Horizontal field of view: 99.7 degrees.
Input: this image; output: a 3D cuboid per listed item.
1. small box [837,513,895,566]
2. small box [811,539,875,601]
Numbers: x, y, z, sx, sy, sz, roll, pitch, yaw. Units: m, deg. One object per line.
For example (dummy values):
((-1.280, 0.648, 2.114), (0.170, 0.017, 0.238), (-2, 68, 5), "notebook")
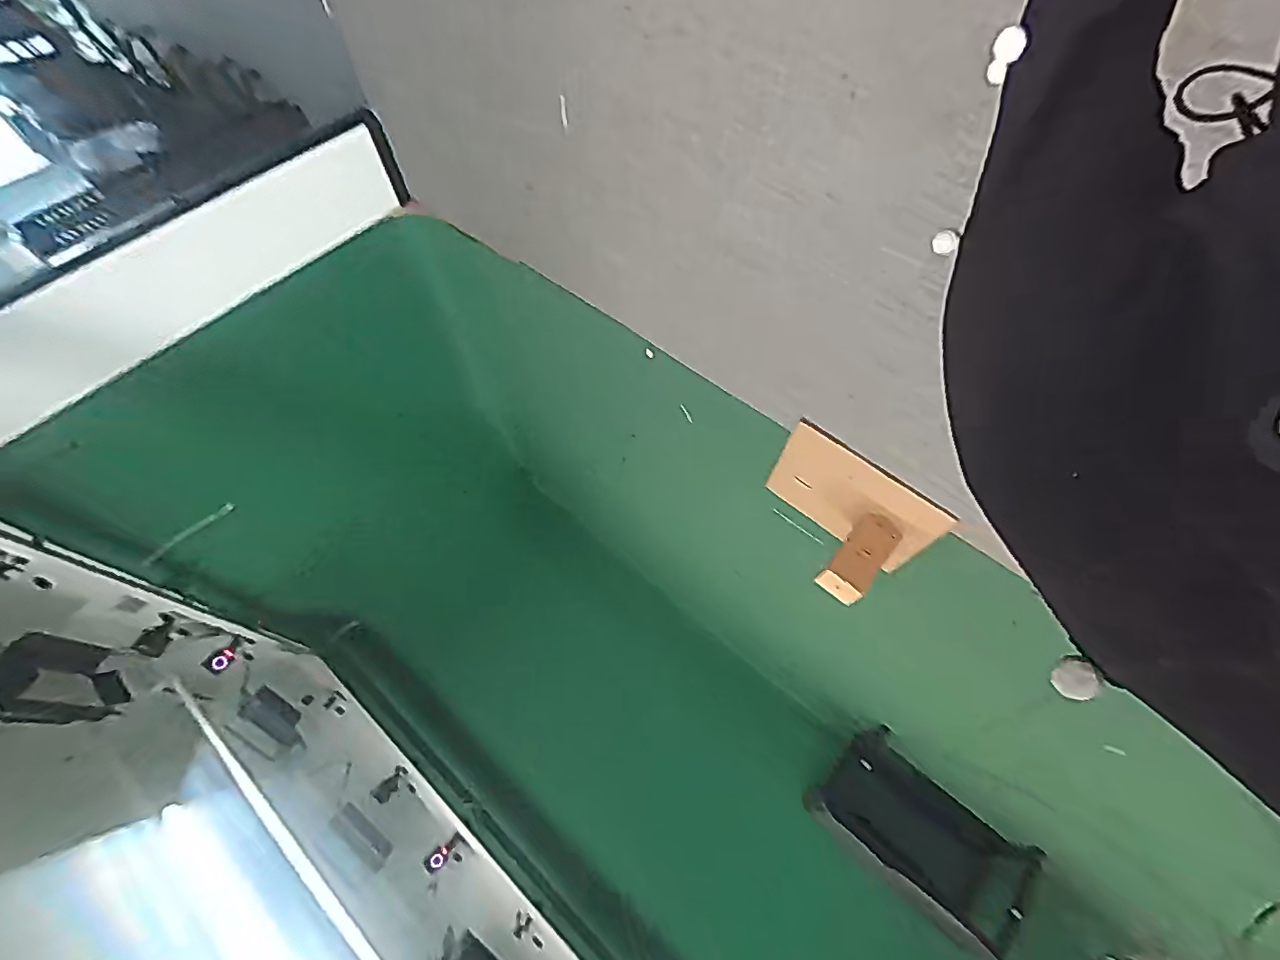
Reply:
((0.972, 0.271, 2.341), (0.168, 0.176, 0.179), (37, 158, 15), "small box")
((0.863, 0.382, 2.293), (0.168, 0.176, 0.179), (38, 157, 14), "small box")
